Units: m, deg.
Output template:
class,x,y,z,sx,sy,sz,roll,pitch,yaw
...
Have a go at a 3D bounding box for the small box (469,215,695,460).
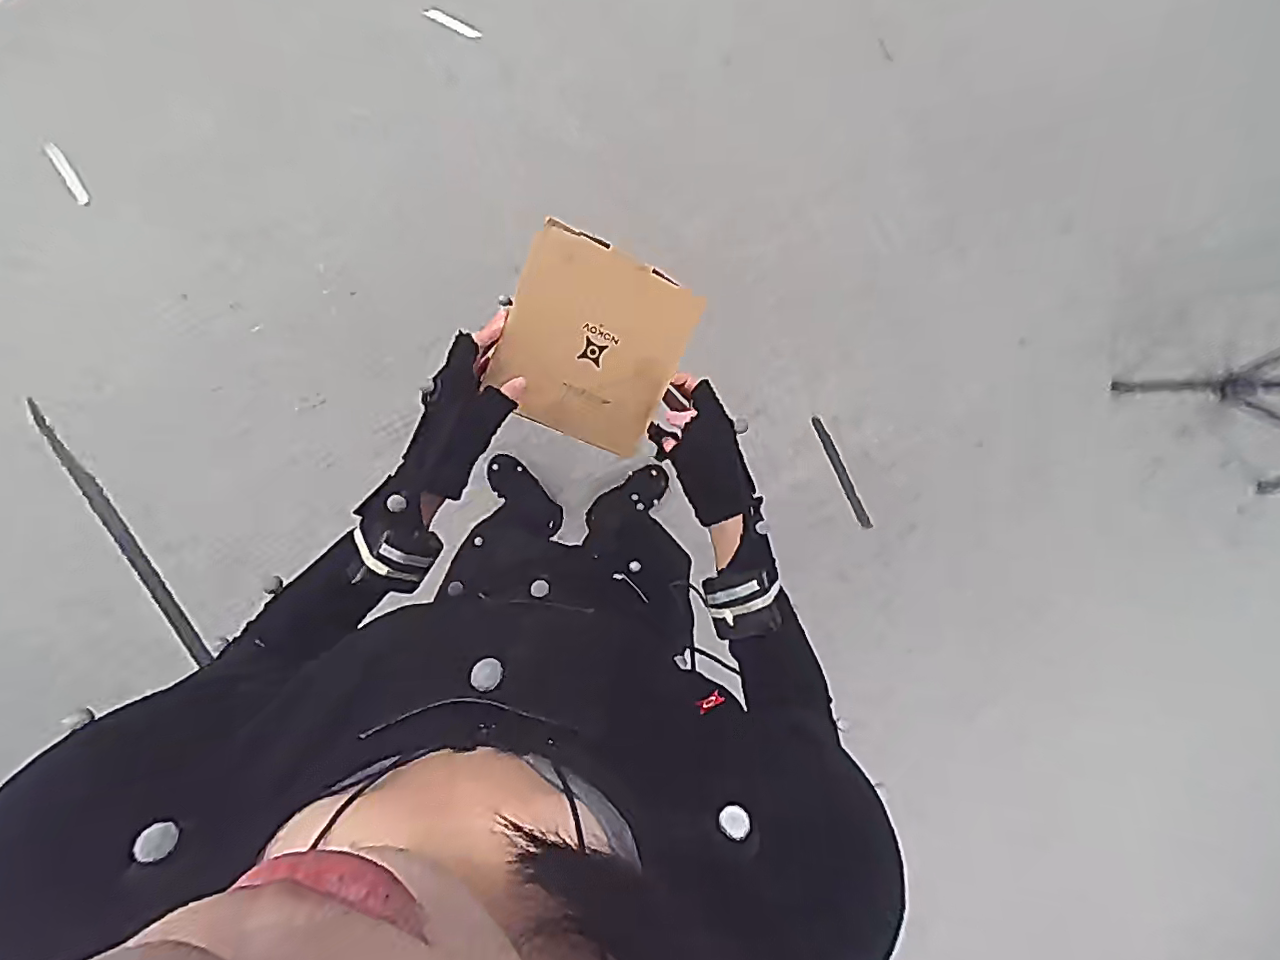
class,x,y,z,sx,sy,sz,roll,pitch,yaw
small box,-0.071,-0.146,0.574,0.168,0.176,0.179,20,101,-19
